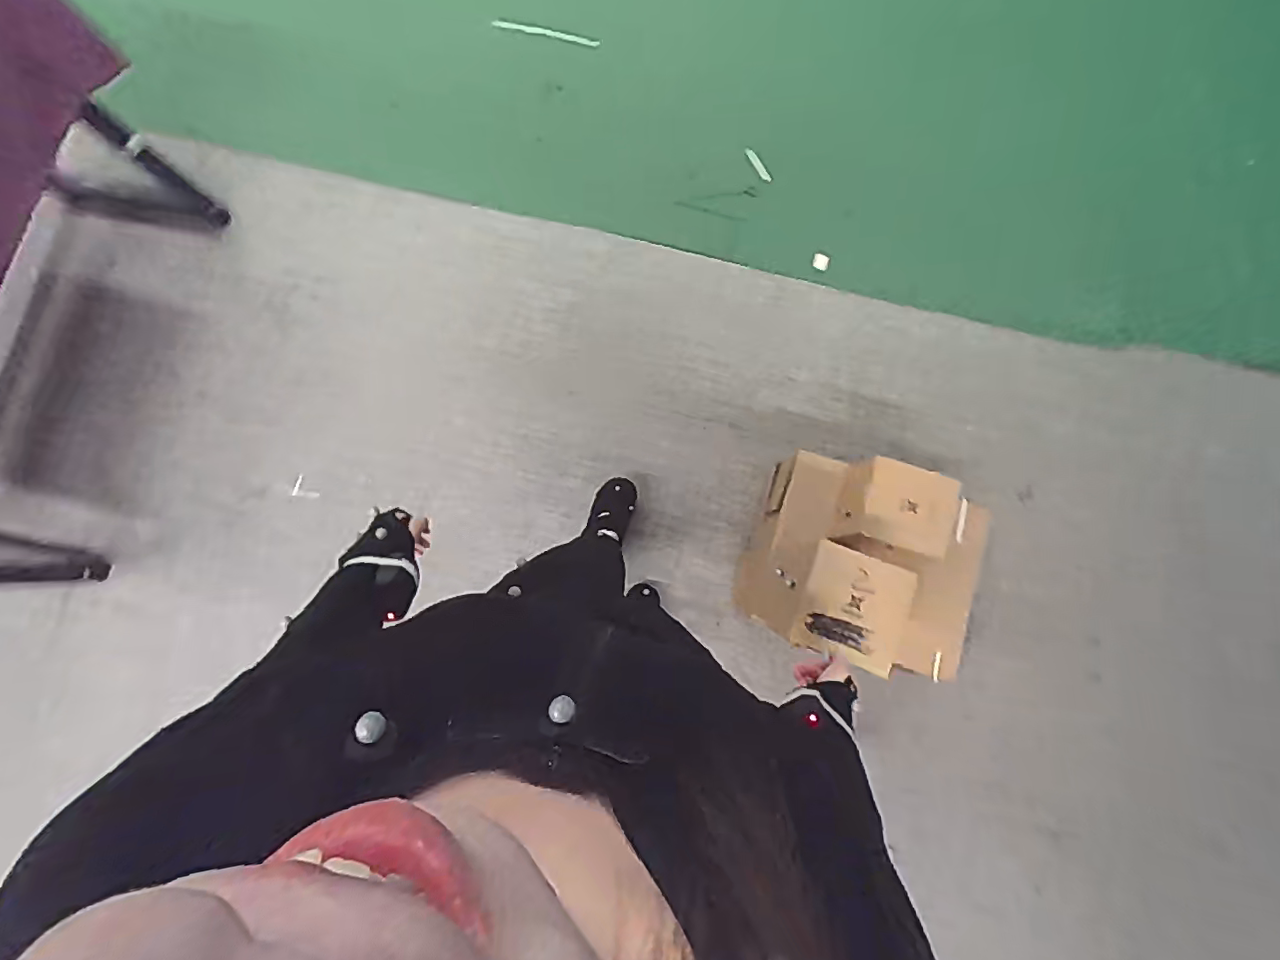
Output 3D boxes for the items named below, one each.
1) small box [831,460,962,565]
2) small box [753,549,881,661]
[{"bbox_3d":[0.524,0.075,1.130,0.179,0.176,0.168,19,82,2],"label":"small box"},{"bbox_3d":[0.351,0.245,1.101,0.179,0.176,0.168,21,82,3],"label":"small box"}]
